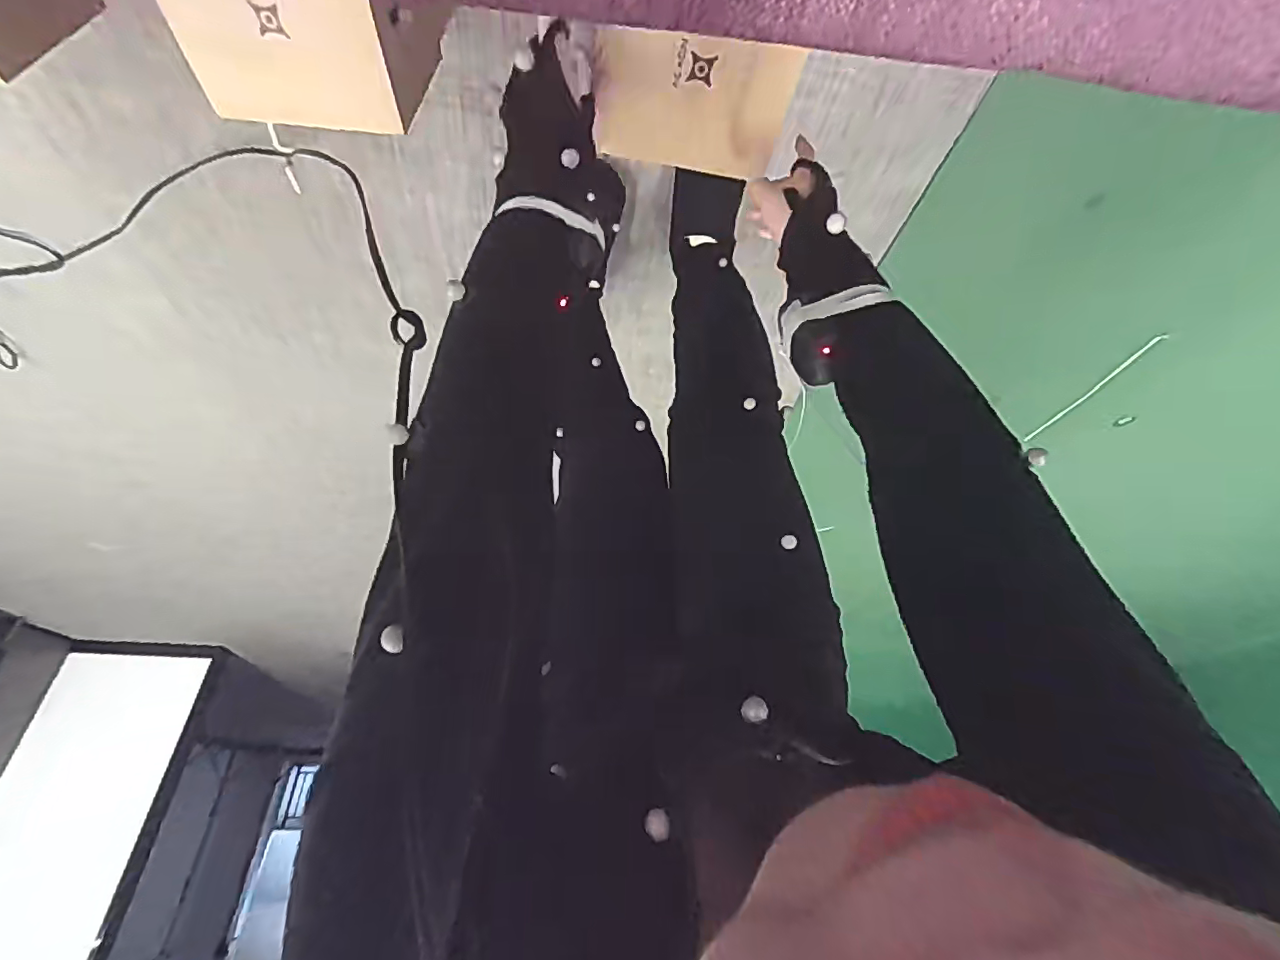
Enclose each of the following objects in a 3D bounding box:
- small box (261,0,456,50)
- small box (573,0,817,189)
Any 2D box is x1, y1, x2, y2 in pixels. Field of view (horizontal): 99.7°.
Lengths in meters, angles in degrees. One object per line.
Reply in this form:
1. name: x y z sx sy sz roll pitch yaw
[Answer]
1. small box: -0.291 -0.582 0.550 0.179 0.176 0.168 5 148 -5
2. small box: 0.038 -0.410 0.500 0.179 0.176 0.168 6 149 -9
